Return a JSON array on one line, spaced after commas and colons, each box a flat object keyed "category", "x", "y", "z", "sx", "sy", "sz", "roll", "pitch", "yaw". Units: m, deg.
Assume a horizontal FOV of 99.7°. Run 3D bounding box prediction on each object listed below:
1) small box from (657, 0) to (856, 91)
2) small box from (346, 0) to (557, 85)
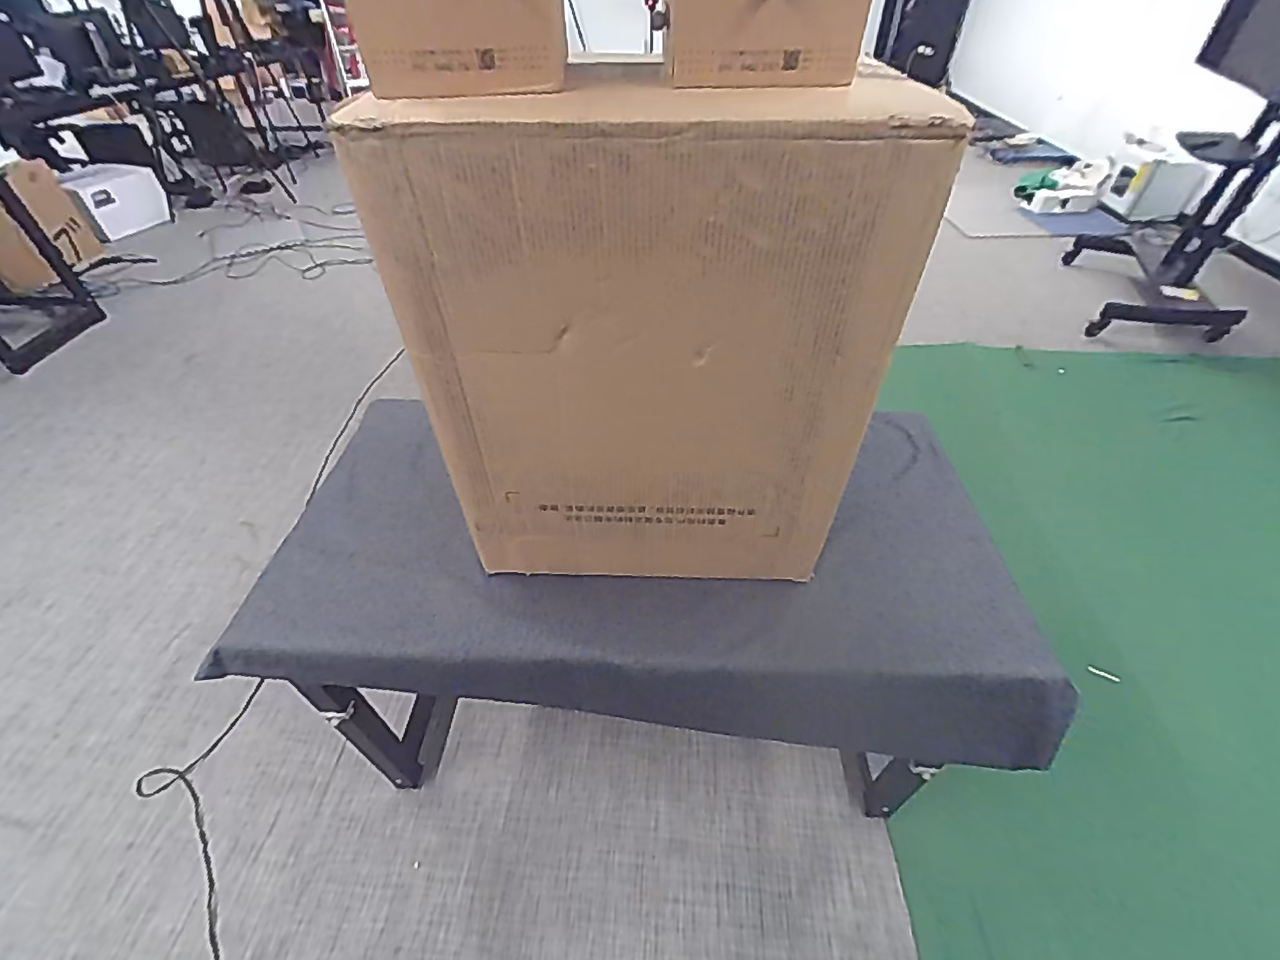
[{"category": "small box", "x": 0.101, "y": -0.471, "z": 0.491, "sx": 0.168, "sy": 0.176, "sz": 0.179, "roll": -2, "pitch": 48, "yaw": -1}, {"category": "small box", "x": -0.166, "y": -0.462, "z": 0.471, "sx": 0.168, "sy": 0.176, "sz": 0.179, "roll": -6, "pitch": 48, "yaw": -4}]
